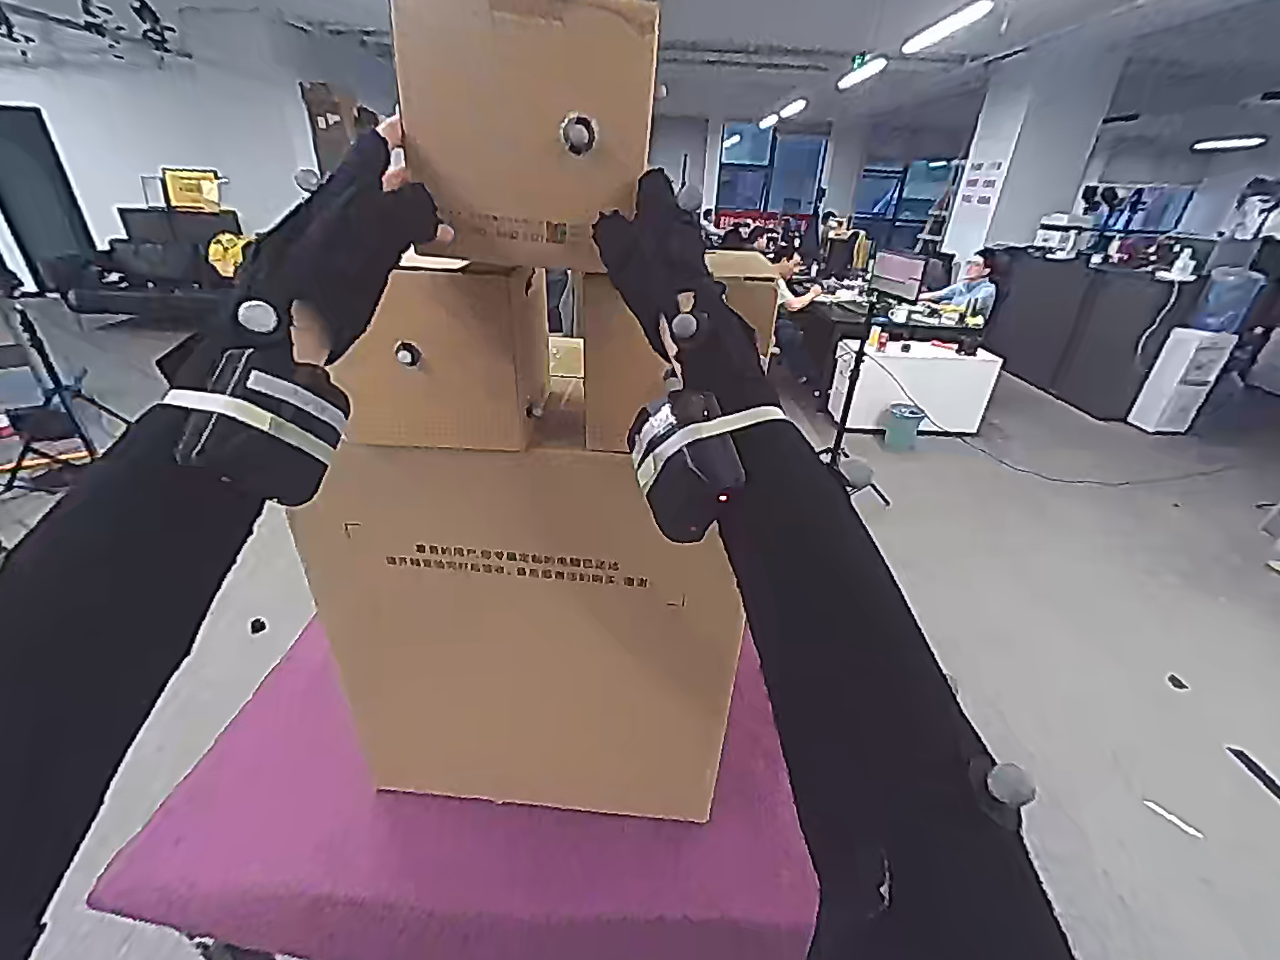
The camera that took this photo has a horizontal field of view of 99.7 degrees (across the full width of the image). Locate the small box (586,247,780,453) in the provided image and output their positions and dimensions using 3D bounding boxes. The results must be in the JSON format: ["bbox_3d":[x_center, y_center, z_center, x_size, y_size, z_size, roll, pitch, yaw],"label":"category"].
[{"bbox_3d":[0.041,-0.139,0.561,0.168,0.176,0.179,5,30,3],"label":"small box"}]

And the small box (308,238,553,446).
[{"bbox_3d":[-0.189,-0.143,0.554,0.179,0.176,0.168,2,30,0],"label":"small box"}]

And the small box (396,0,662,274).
[{"bbox_3d":[-0.078,-0.274,0.439,0.168,0.176,0.179,4,30,-6],"label":"small box"}]
